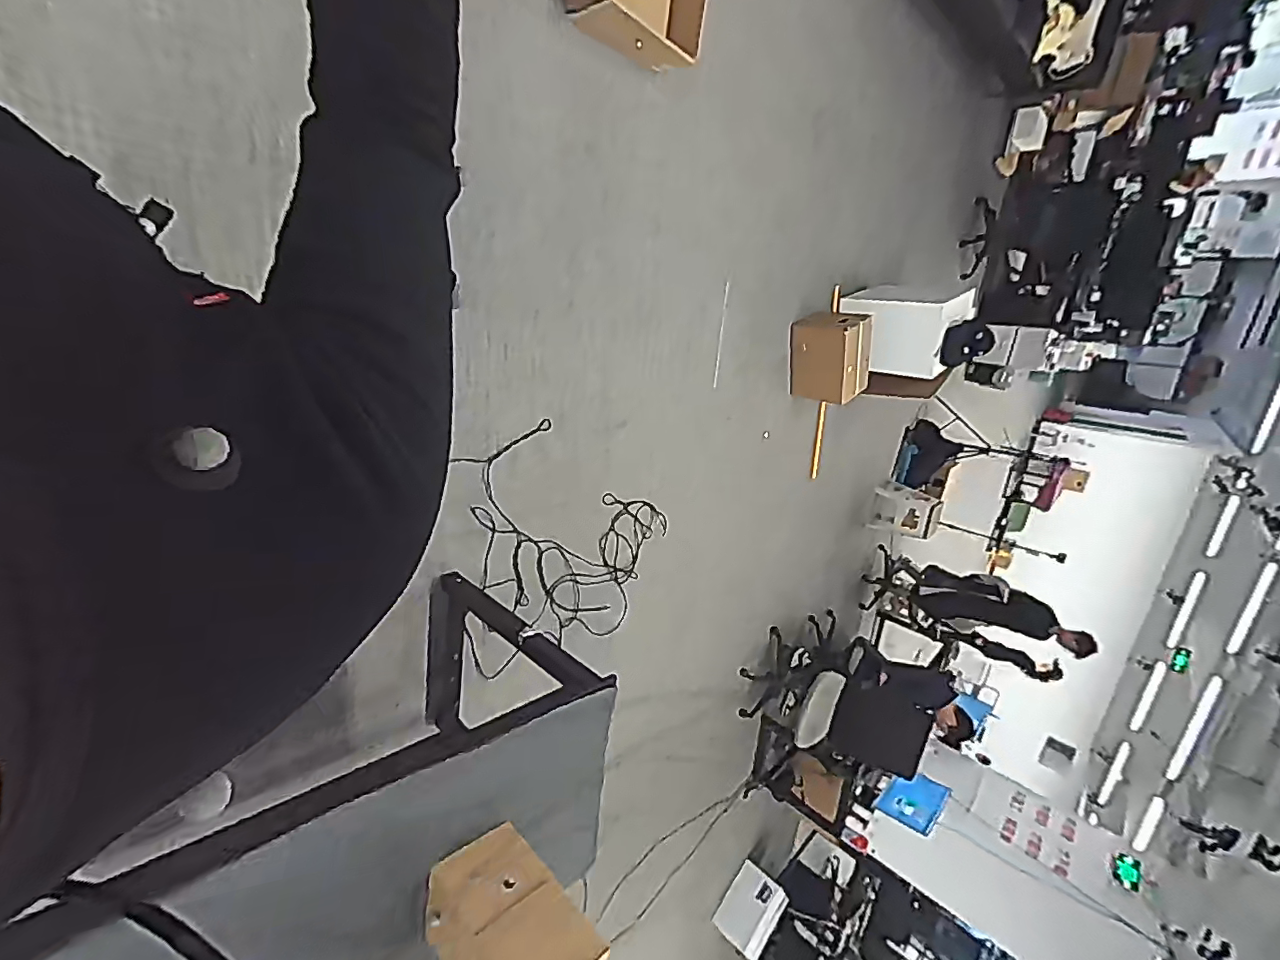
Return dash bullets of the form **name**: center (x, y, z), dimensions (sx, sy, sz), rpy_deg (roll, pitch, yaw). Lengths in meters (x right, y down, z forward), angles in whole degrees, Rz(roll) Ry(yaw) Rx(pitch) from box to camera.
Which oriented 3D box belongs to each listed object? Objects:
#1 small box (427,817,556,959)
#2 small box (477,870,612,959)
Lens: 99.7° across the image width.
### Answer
- **small box**: center (-0.294, 0.819, 1.067), dimensions (0.179, 0.176, 0.168), rpy_deg (-5, 109, -47)
- **small box**: center (-0.177, 0.856, 0.957), dimensions (0.179, 0.176, 0.168), rpy_deg (-7, 111, -47)
